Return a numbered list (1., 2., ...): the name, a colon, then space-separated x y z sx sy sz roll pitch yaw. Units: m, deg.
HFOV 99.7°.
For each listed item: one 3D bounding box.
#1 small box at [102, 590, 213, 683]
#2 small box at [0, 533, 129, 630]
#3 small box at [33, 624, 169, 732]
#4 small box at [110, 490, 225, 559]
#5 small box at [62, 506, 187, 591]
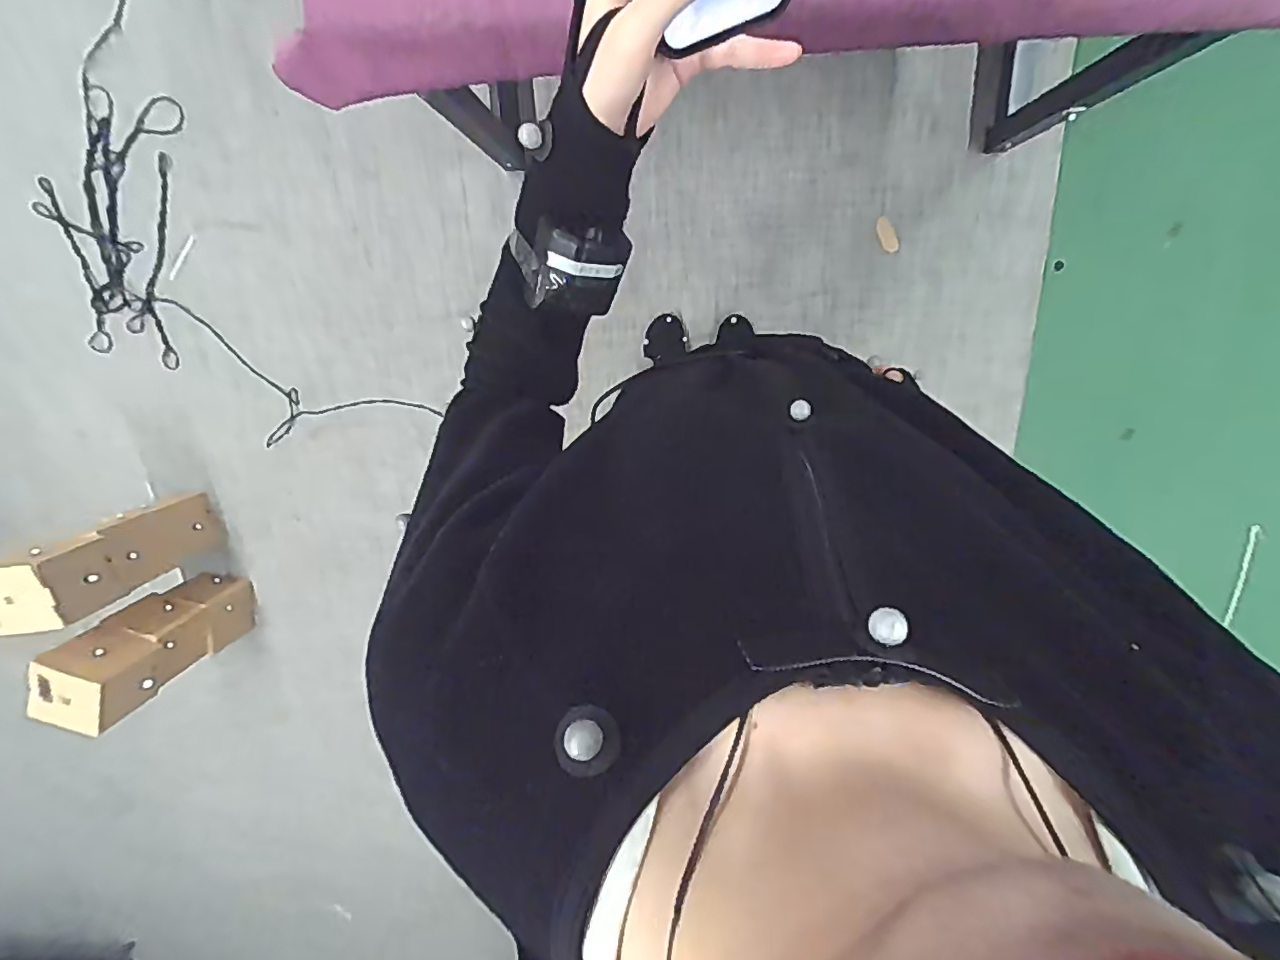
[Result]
1. small box: -1.344 0.439 1.517 0.168 0.176 0.179 15 106 0
2. small box: -1.379 0.234 1.284 0.179 0.176 0.168 -6 107 4
3. small box: -1.348 0.487 1.360 0.179 0.176 0.168 20 107 -2
4. small box: -1.376 0.137 1.595 0.179 0.176 0.168 -9 106 7
5. small box: -1.374 0.190 1.441 0.168 0.176 0.179 -13 106 7
